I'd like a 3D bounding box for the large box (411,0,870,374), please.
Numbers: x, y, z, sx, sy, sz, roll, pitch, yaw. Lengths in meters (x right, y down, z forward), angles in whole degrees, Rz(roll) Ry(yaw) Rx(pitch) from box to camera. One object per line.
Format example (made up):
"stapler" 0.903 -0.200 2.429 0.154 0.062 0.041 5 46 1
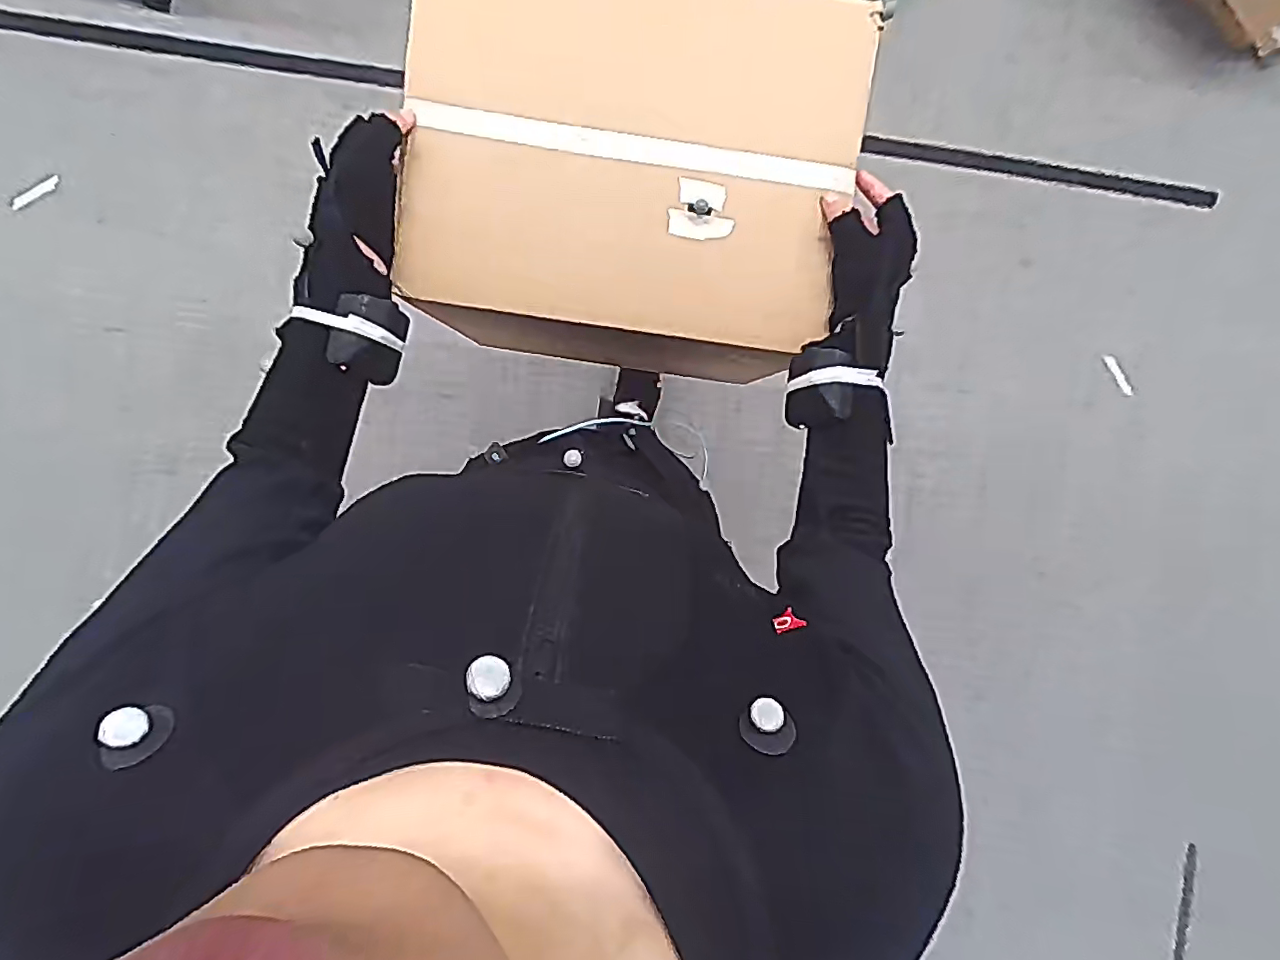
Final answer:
"large box" -0.009 -0.319 0.648 0.408 0.320 0.320 7 96 -3
